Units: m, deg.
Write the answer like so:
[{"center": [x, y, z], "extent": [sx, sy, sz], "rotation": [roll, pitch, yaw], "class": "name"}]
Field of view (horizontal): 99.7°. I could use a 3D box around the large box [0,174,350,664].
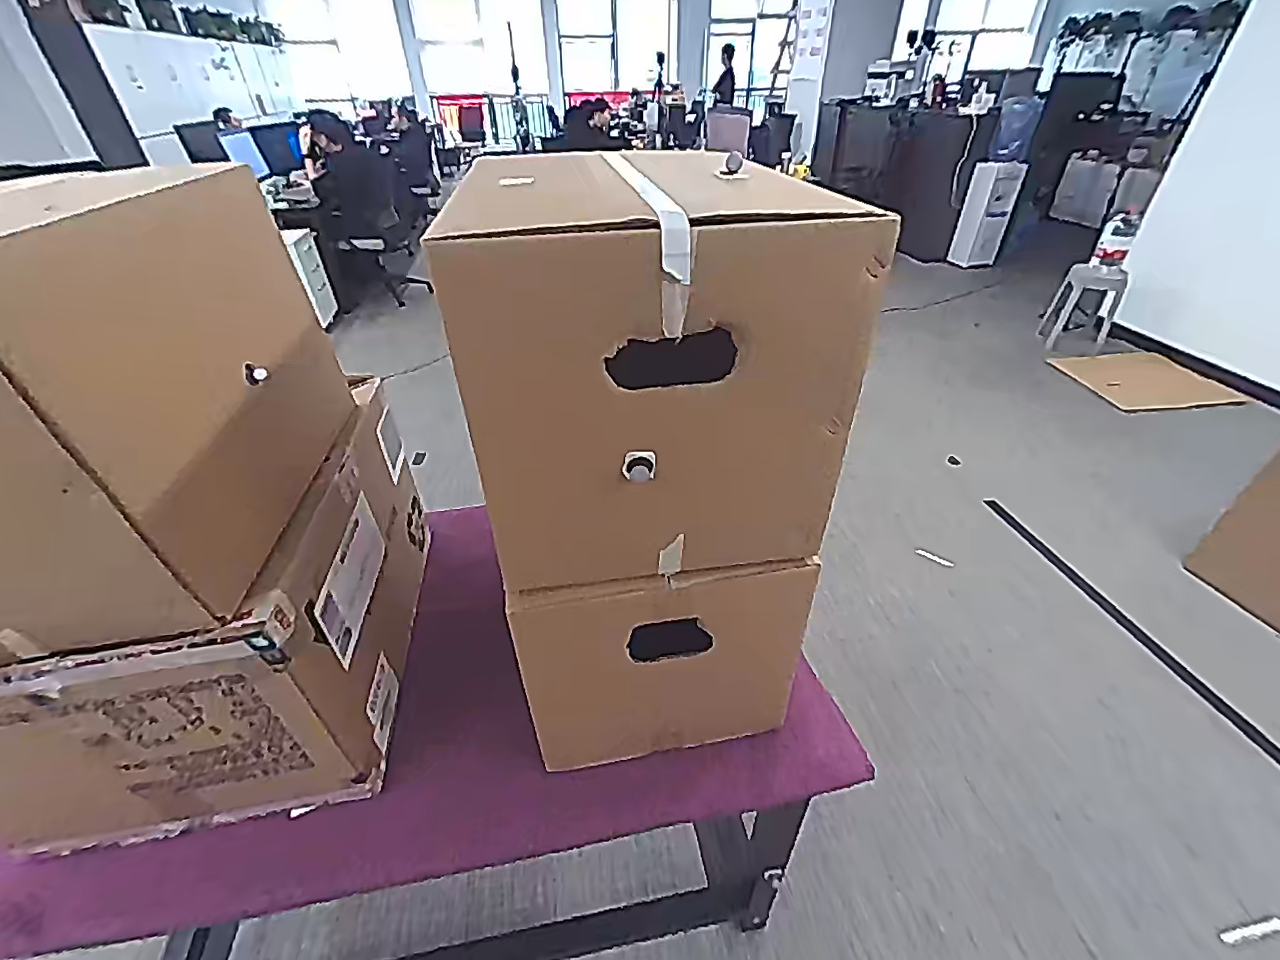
[{"center": [-0.544, -0.087, 0.533], "extent": [0.320, 0.320, 0.408], "rotation": [-10, 38, -4], "class": "large box"}]
